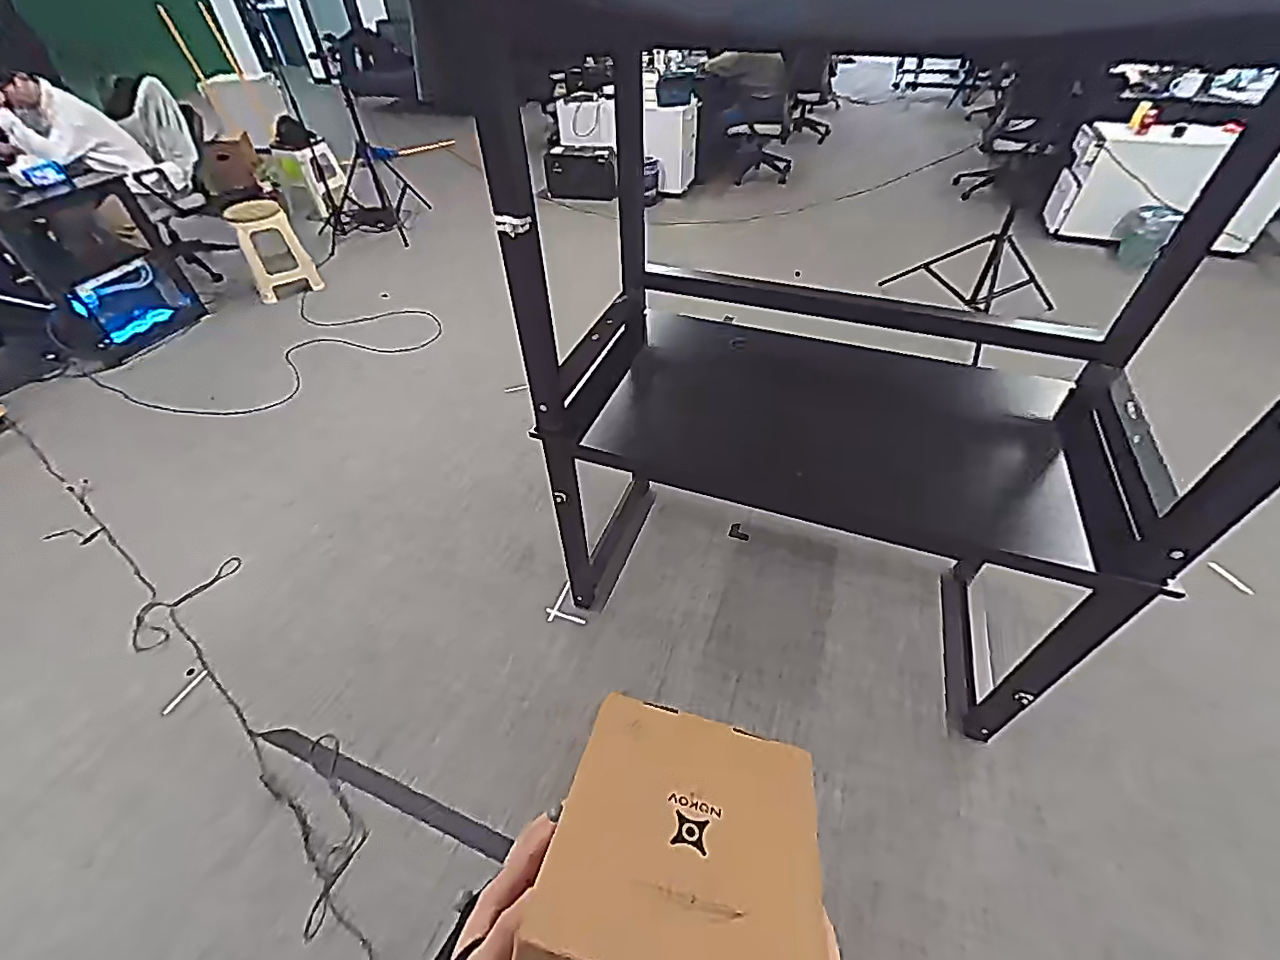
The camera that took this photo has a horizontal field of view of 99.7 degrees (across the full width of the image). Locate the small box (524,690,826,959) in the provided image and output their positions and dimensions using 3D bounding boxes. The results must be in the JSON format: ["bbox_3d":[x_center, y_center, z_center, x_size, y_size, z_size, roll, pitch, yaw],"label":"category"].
[{"bbox_3d":[0.021,0.293,0.383,0.168,0.176,0.179,13,27,8],"label":"small box"}]
